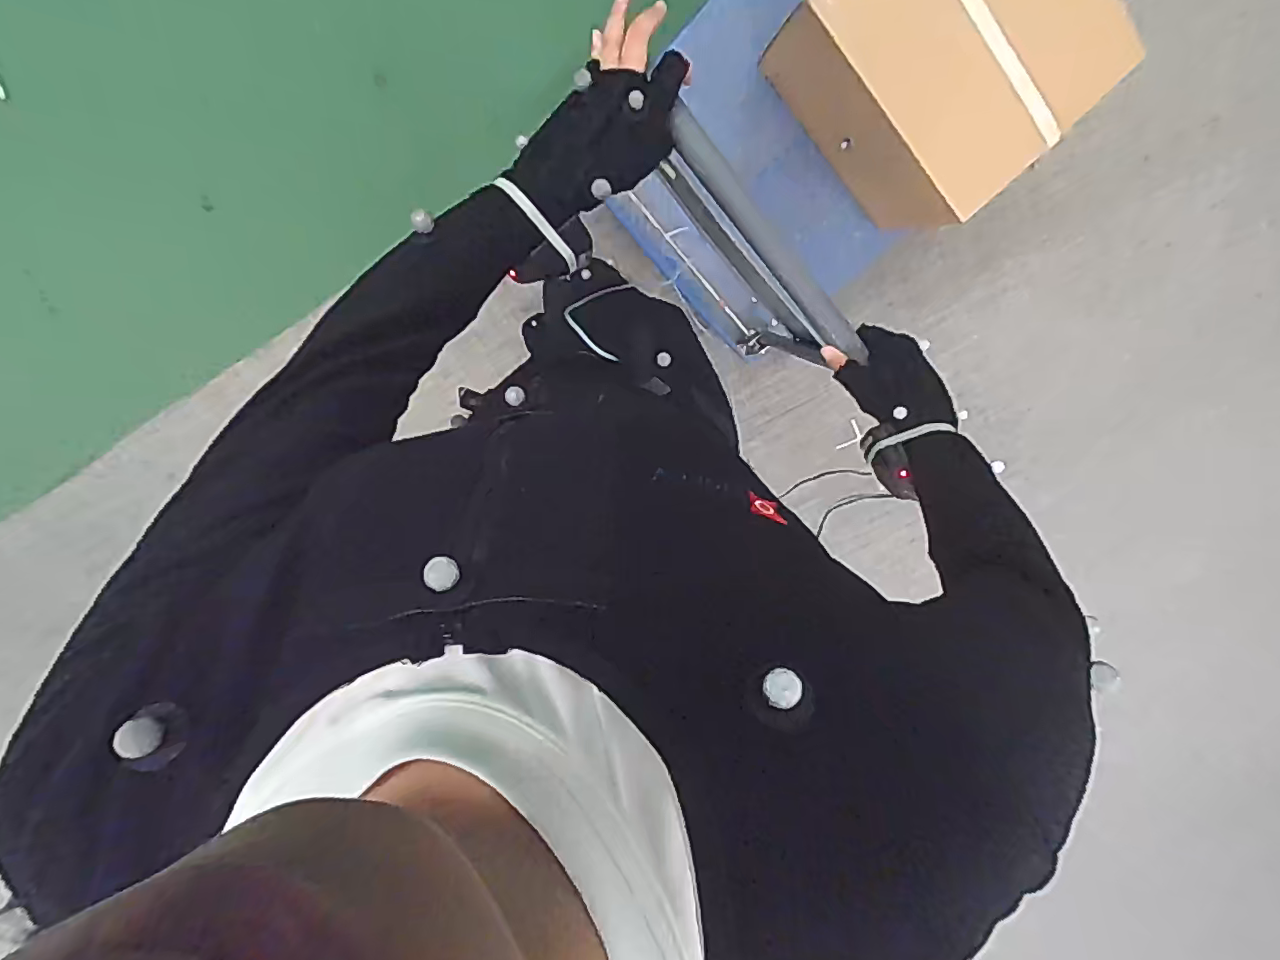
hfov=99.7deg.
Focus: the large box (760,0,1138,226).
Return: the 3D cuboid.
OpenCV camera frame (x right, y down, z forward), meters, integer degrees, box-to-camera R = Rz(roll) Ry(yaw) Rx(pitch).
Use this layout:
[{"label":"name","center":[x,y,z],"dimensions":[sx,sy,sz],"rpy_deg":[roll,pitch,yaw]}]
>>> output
[{"label":"large box","center":[0.467,-0.691,0.895],"dimensions":[0.320,0.320,0.408],"rpy_deg":[-43,107,16]}]
